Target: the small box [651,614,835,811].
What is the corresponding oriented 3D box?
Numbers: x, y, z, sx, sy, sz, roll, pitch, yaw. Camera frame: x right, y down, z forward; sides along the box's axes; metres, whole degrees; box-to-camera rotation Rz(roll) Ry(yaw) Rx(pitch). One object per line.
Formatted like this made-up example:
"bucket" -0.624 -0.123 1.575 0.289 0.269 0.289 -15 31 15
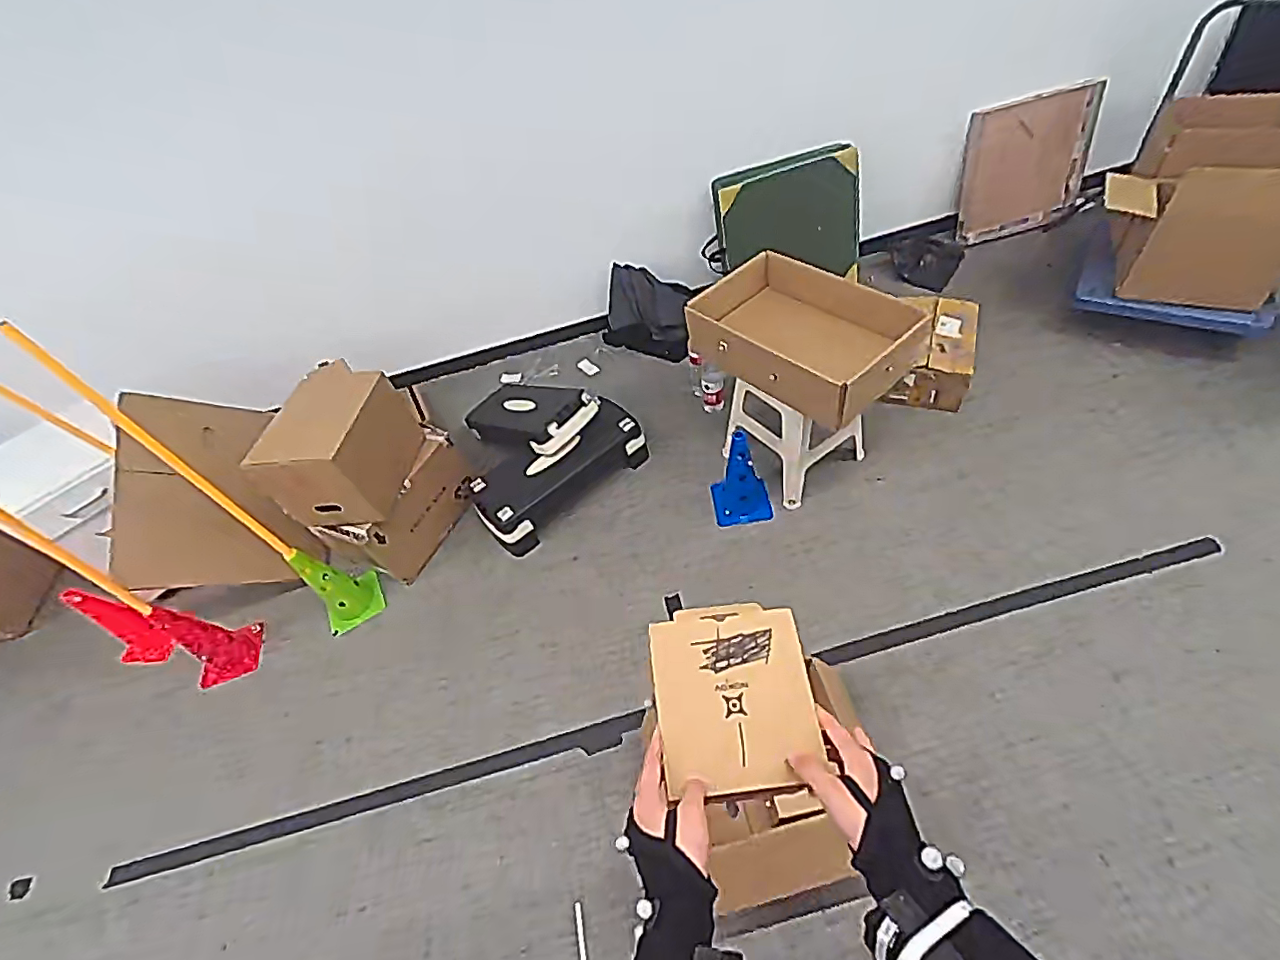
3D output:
"small box" 0.103 0.277 0.638 0.168 0.176 0.179 -6 57 -2
